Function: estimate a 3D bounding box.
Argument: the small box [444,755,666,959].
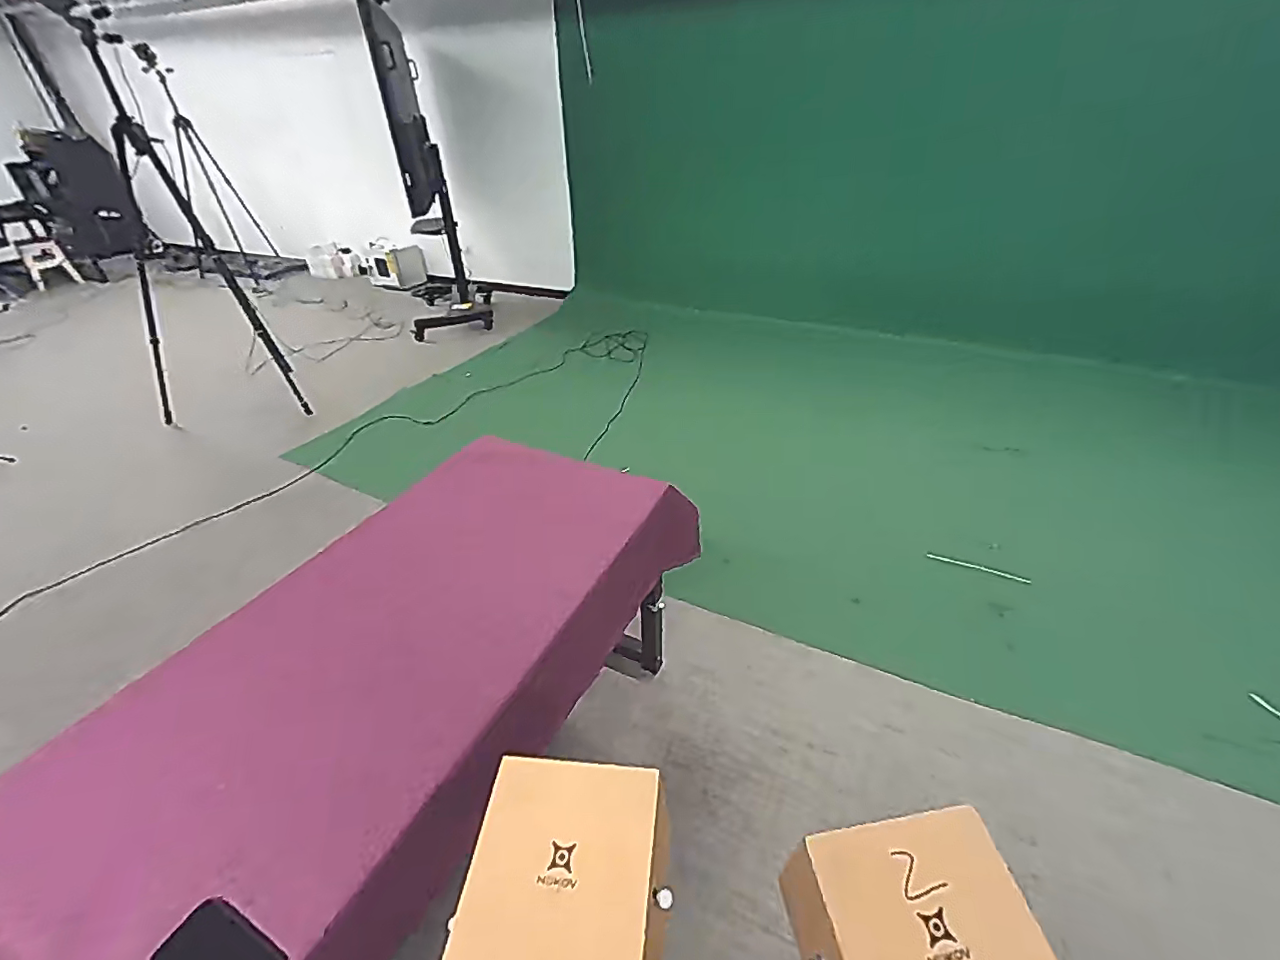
[{"bbox_3d":[-0.064,0.407,0.543,0.168,0.176,0.179,0,42,9],"label":"small box"}]
